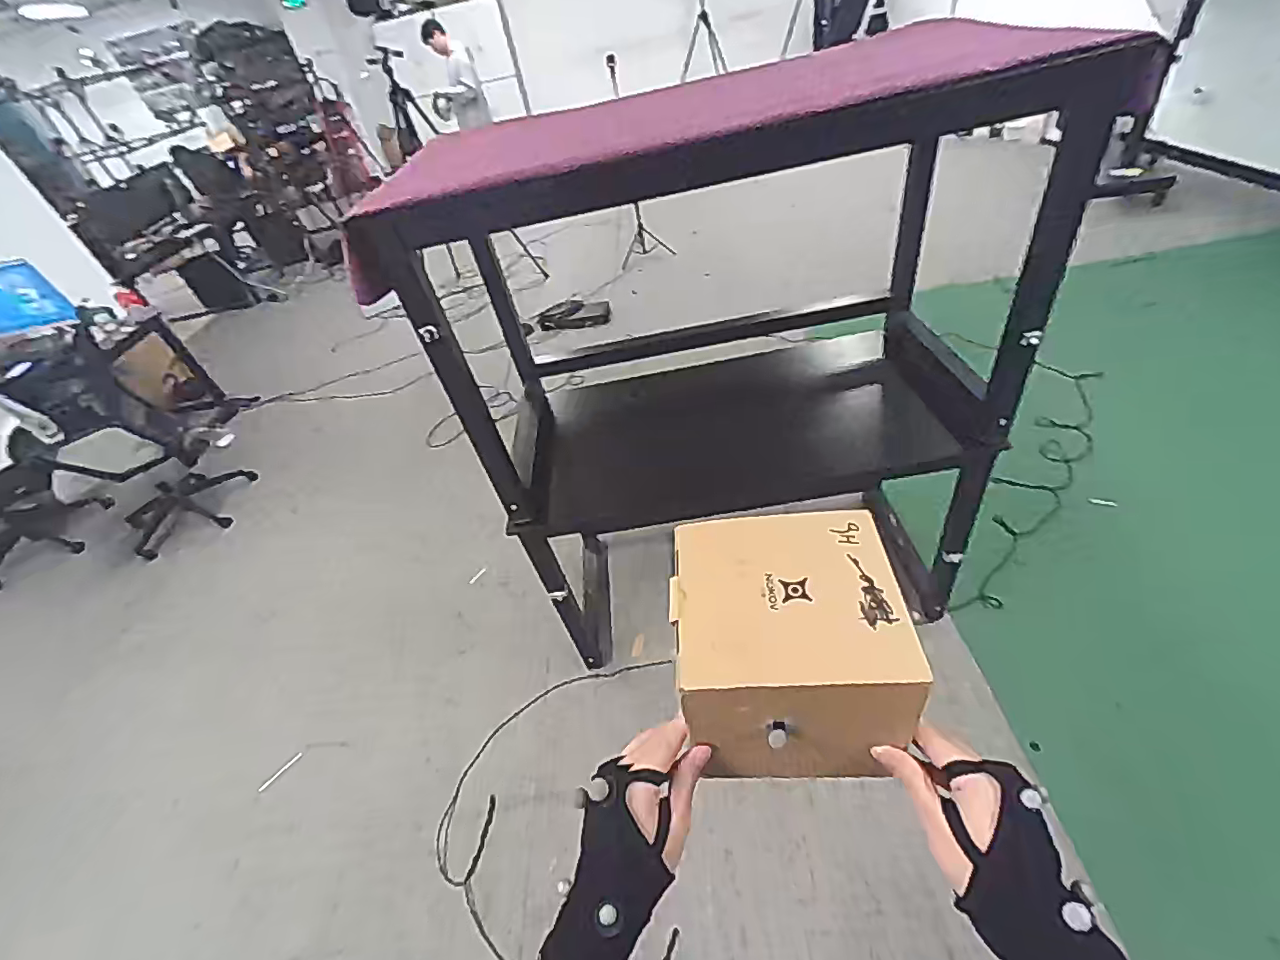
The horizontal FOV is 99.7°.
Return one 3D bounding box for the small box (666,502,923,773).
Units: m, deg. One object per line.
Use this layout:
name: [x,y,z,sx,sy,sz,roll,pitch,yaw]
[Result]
small box: [0.123,0.143,0.478,0.179,0.176,0.168,-7,41,9]
